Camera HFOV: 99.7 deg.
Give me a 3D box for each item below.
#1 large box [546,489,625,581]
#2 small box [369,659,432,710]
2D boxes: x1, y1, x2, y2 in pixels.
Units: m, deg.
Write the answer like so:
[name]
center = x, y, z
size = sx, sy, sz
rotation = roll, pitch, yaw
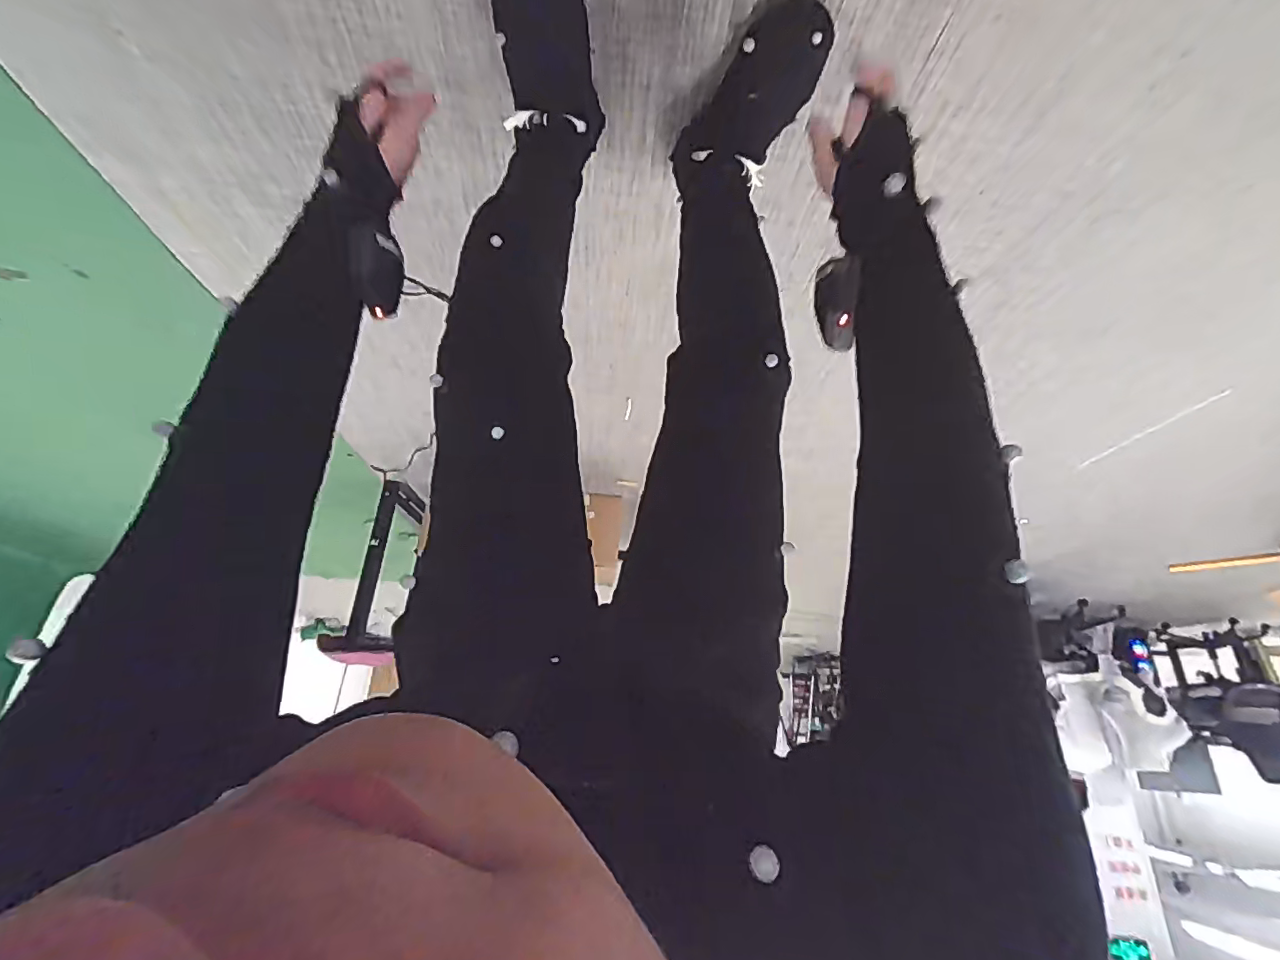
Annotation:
[large box]
center = -0.232, 0.253, 2.421
size = 0.320, 0.320, 0.408
rotation = 6, 159, -2
[small box]
center = -0.919, 0.792, 2.096
size = 0.168, 0.176, 0.179
rotation = 4, 160, -5
